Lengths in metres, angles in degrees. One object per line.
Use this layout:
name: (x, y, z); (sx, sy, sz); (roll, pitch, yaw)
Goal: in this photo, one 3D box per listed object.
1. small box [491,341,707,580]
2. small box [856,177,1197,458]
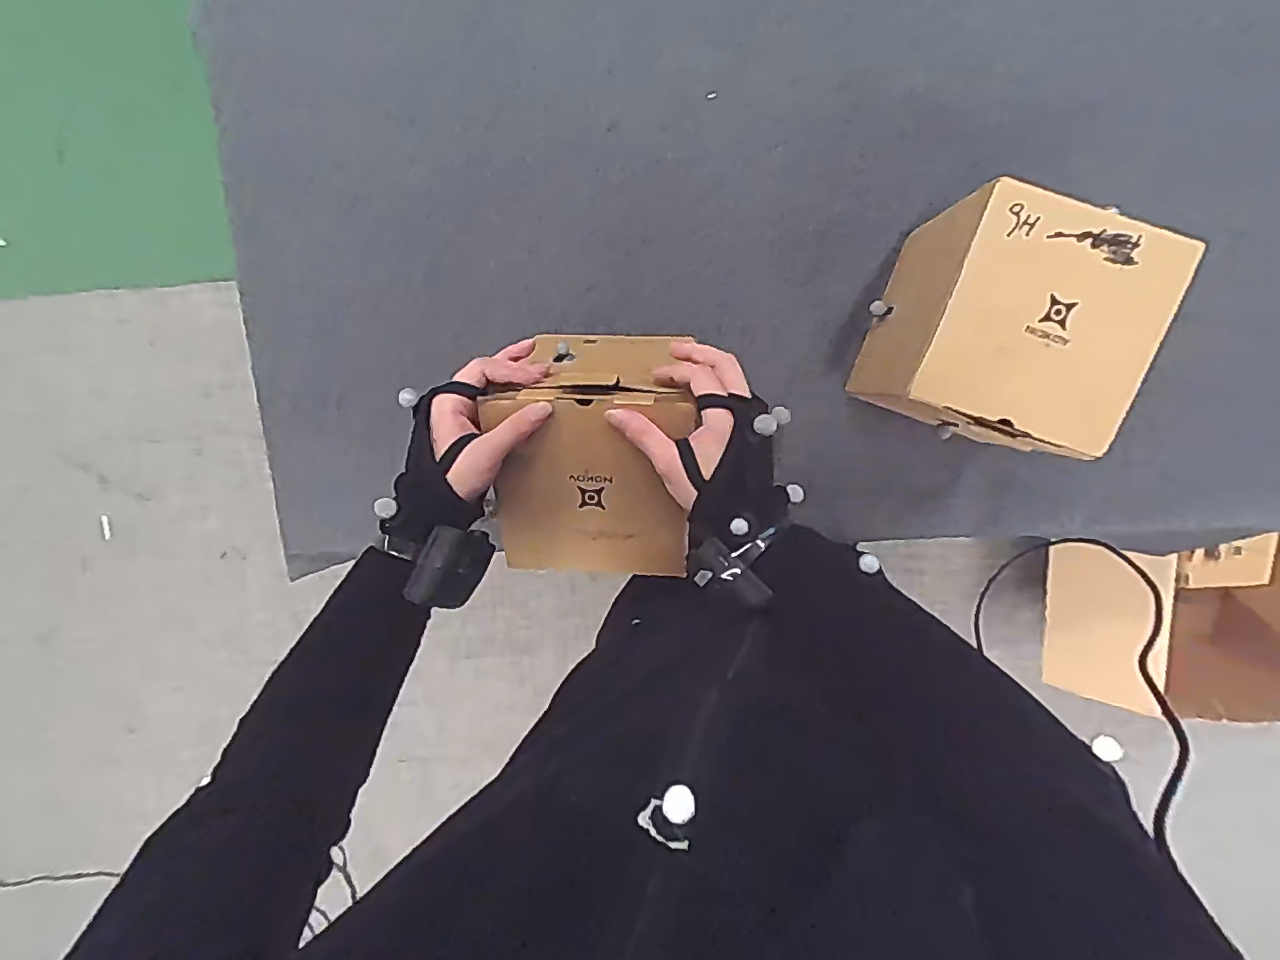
small box: (-0.026, -0.028, 0.510); (0.168, 0.176, 0.179); (1, 119, 4)
small box: (0.325, -0.139, 0.506); (0.168, 0.176, 0.179); (20, 102, 0)
